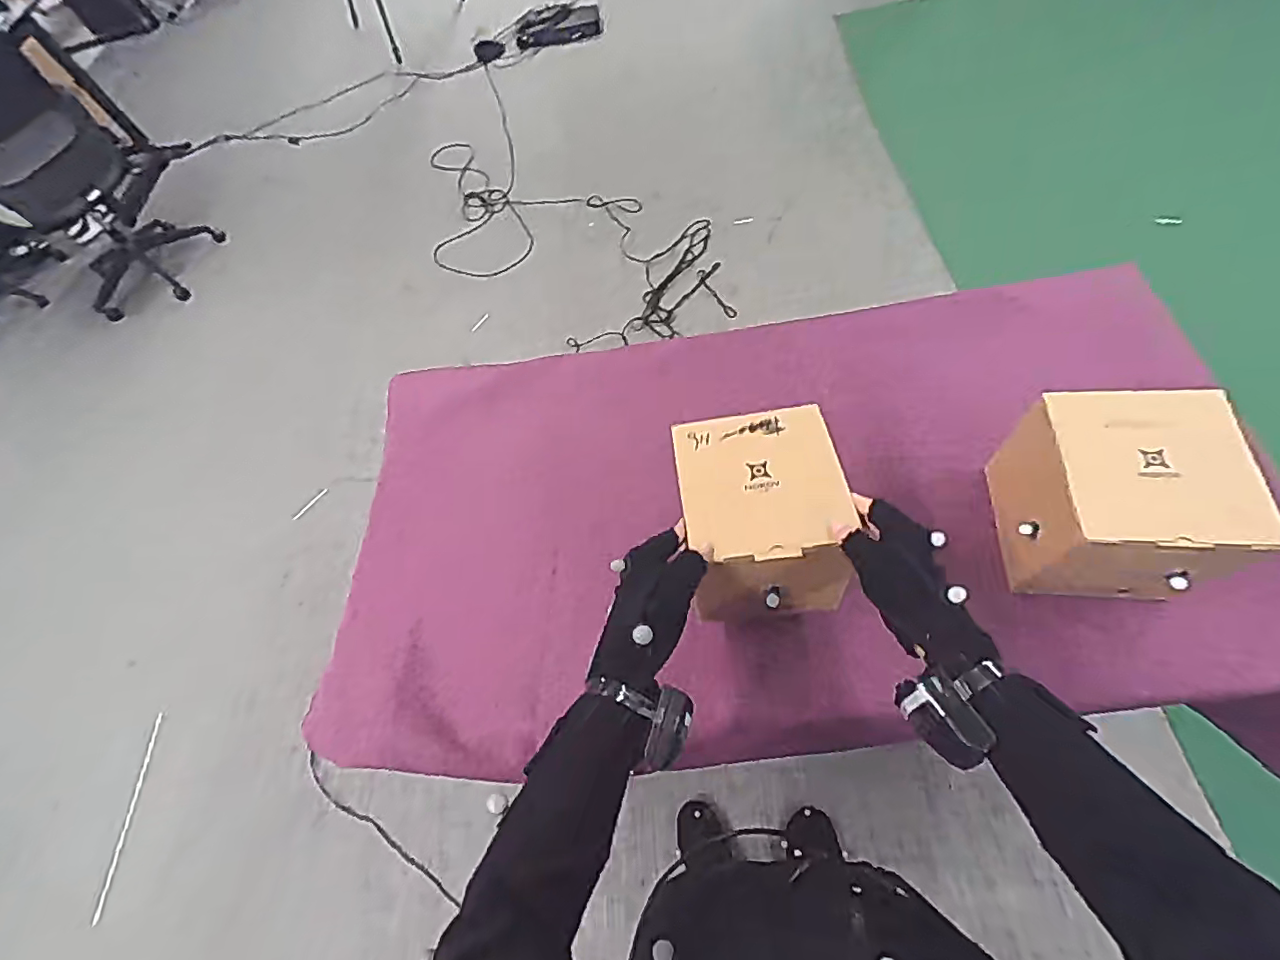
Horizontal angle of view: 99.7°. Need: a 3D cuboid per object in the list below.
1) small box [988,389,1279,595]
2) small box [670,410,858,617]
[{"bbox_3d":[0.516,0.020,0.598,0.168,0.176,0.179,2,62,12],"label":"small box"},{"bbox_3d":[0.131,0.048,0.623,0.168,0.176,0.179,-8,55,4],"label":"small box"}]
